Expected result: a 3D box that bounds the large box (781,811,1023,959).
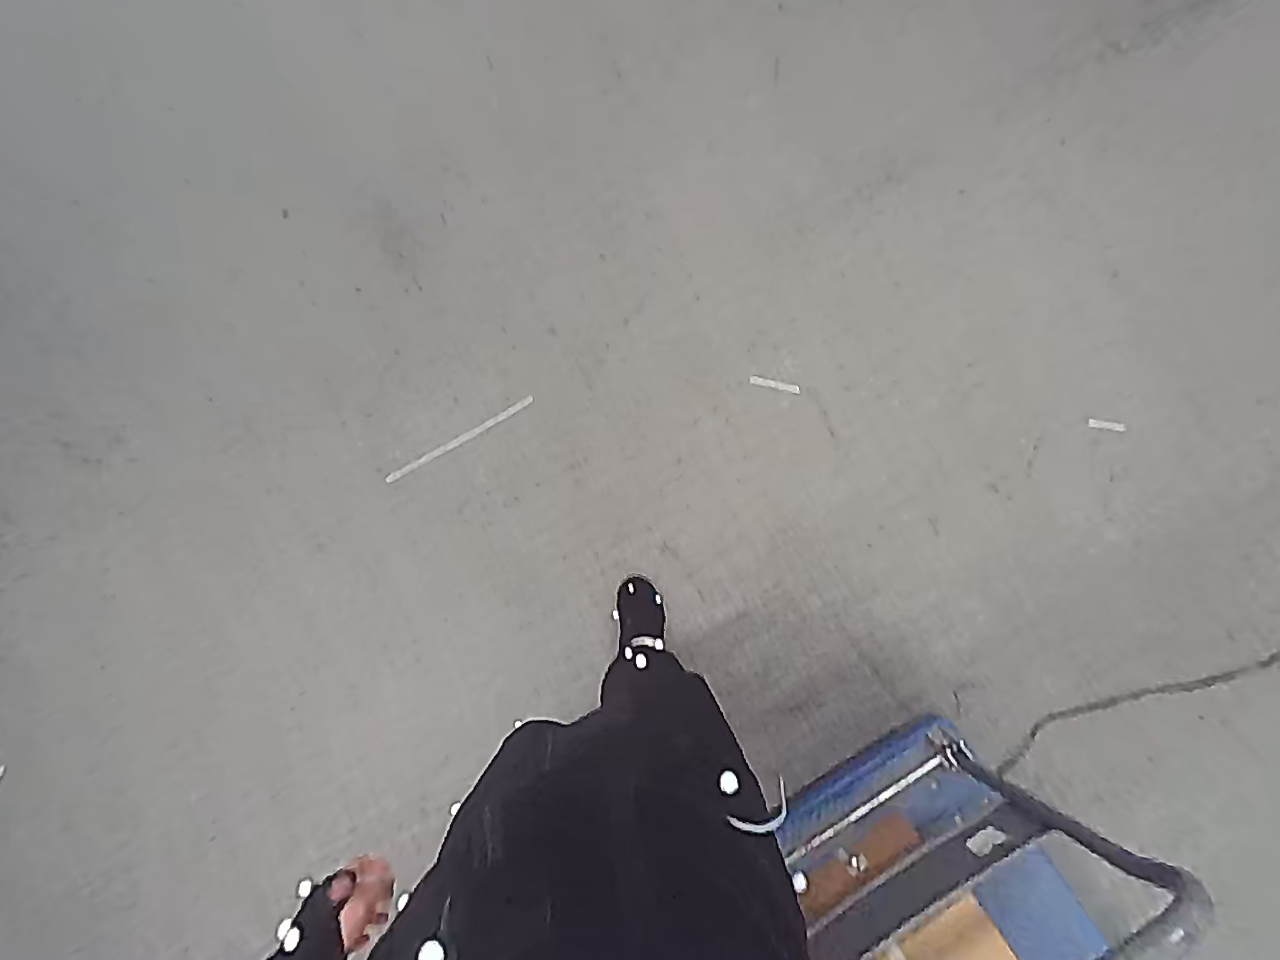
[{"bbox_3d":[0.522,0.925,0.981,0.320,0.320,0.408,-34,80,-2],"label":"large box"}]
